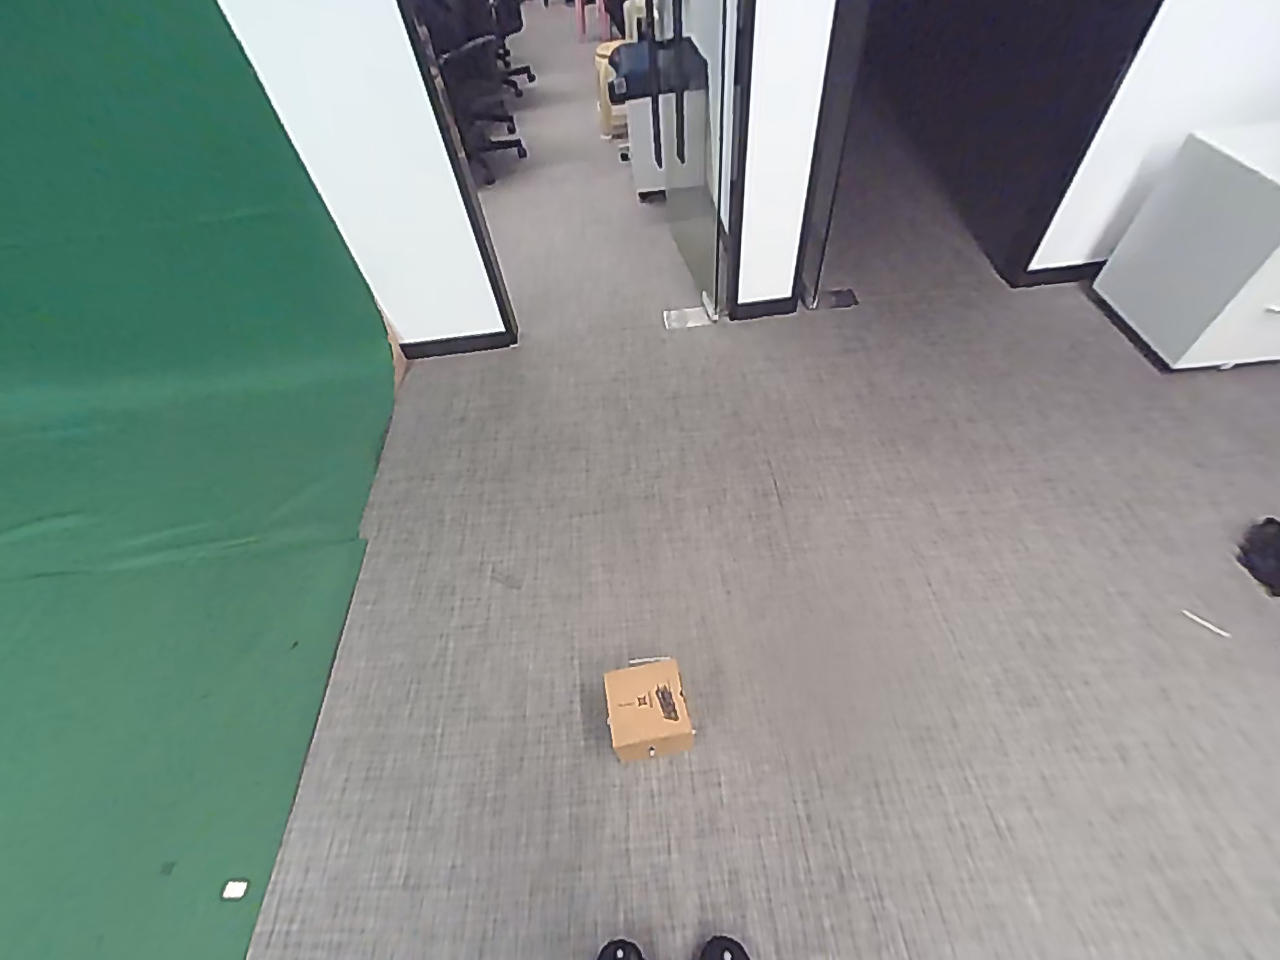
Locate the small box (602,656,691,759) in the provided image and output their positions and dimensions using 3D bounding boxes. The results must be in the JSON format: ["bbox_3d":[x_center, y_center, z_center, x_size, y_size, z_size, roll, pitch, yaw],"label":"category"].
[{"bbox_3d":[0.014,0.543,1.286,0.179,0.176,0.168,-13,52,-5],"label":"small box"}]
